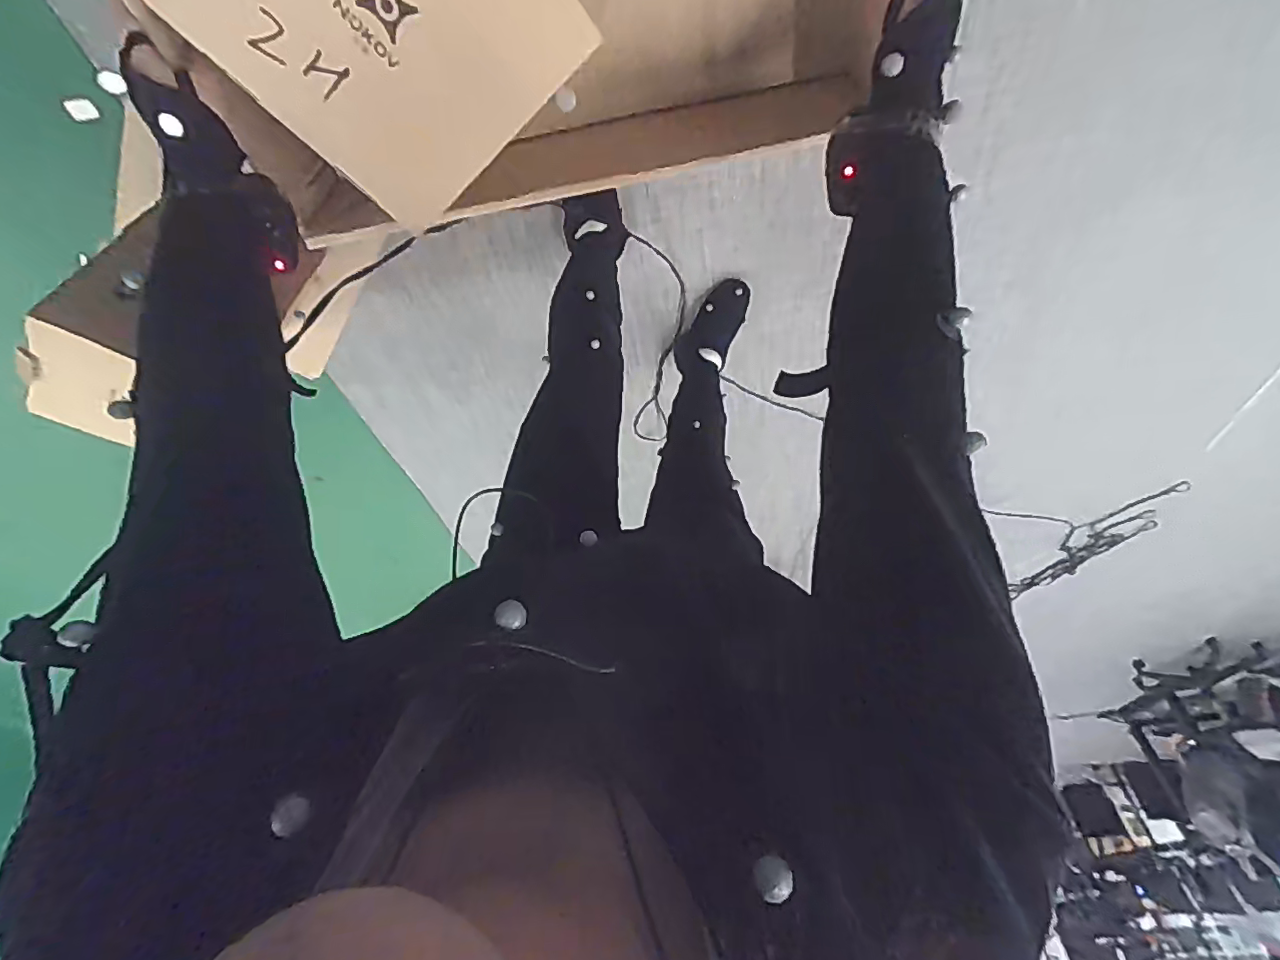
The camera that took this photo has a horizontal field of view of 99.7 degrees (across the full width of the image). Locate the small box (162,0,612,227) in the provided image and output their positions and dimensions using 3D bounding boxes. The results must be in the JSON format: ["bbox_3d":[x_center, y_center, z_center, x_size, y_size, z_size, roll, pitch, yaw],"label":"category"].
[{"bbox_3d":[-0.135,-0.307,0.332,0.179,0.176,0.168,-29,132,27],"label":"small box"}]

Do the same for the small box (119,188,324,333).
[{"bbox_3d":[-0.585,-0.273,0.758,0.179,0.176,0.168,30,130,-33],"label":"small box"}]

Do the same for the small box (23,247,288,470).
[{"bbox_3d":[-0.571,-0.148,0.653,0.179,0.176,0.168,28,131,-31],"label":"small box"}]
